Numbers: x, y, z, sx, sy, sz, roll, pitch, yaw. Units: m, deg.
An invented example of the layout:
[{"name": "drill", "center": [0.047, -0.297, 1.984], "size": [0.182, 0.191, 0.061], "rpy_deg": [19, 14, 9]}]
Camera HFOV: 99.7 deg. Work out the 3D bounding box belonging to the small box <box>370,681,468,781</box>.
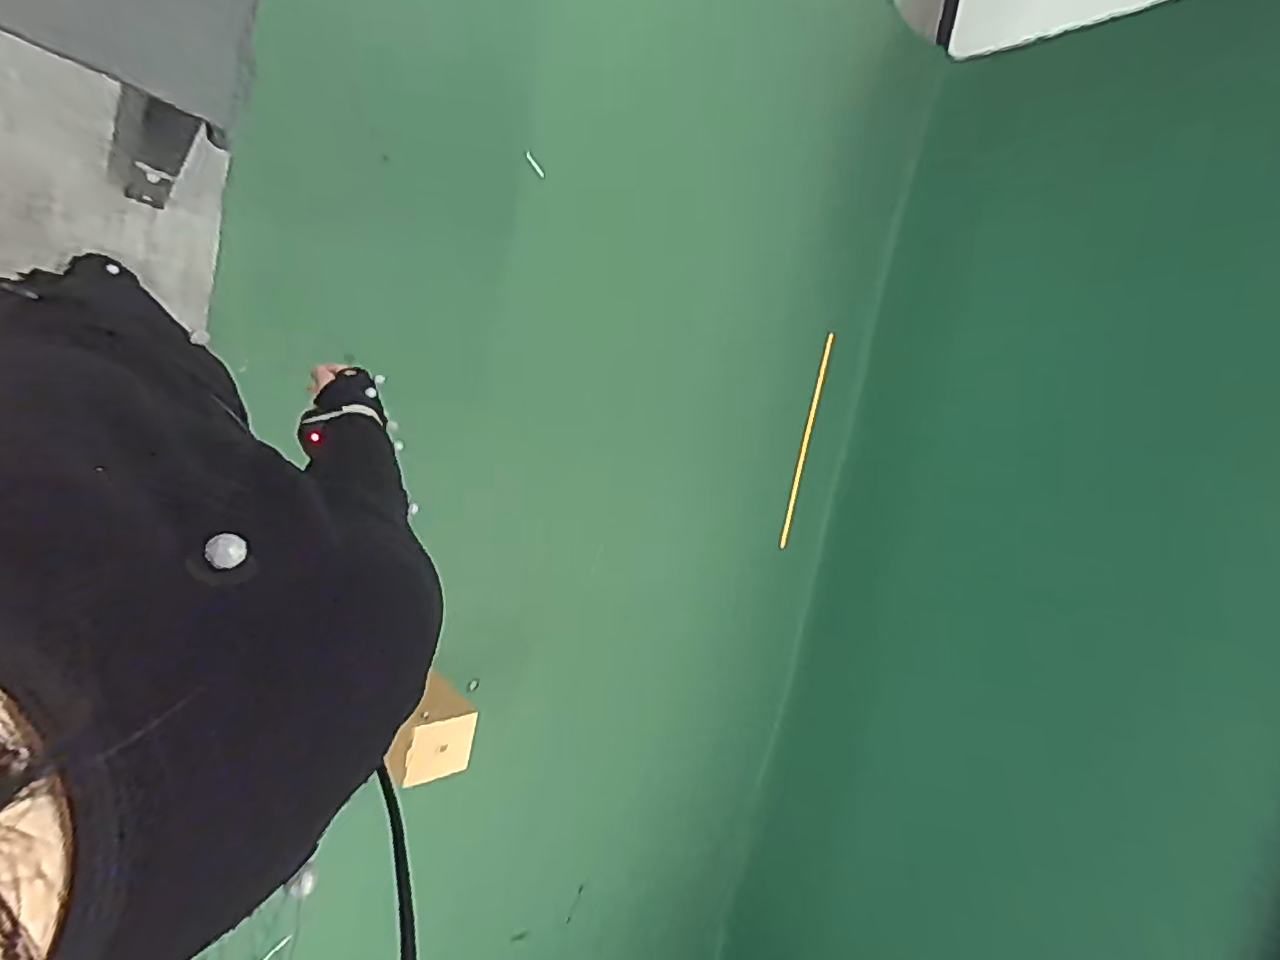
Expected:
[{"name": "small box", "center": [-0.597, 0.664, 1.458], "size": [0.179, 0.176, 0.168], "rpy_deg": [8, 97, -46]}]
